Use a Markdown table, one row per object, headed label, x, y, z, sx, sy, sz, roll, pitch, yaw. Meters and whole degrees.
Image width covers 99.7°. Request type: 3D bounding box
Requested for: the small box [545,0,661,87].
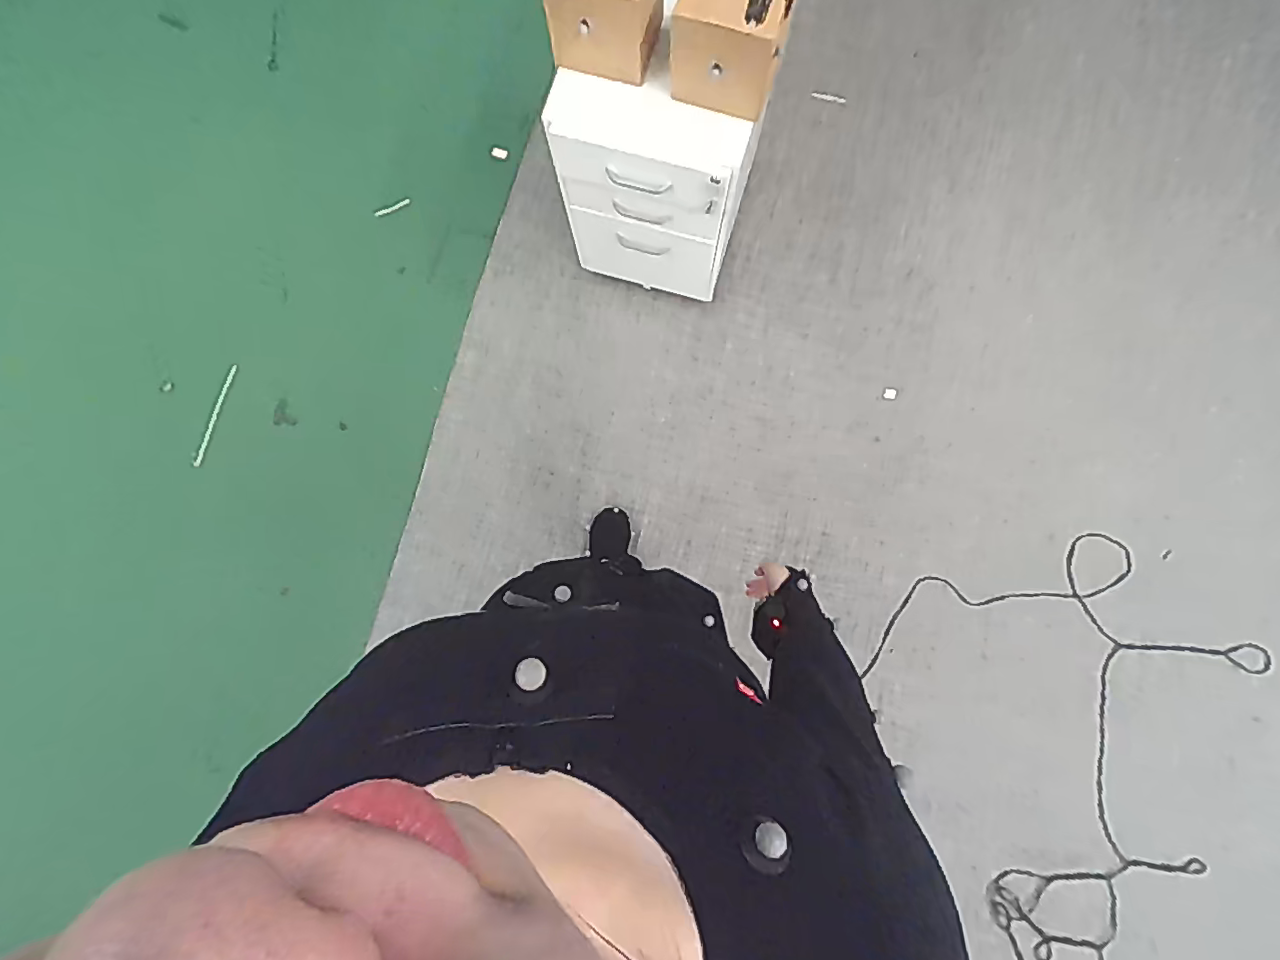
| label | x | y | z | sx | sy | sz | roll | pitch | yaw |
| --- | --- | --- | --- | --- | --- | --- | --- | --- | --- |
| small box | -0.065 | -0.861 | 0.978 | 0.179 | 0.176 | 0.168 | 16 | 83 | 3 |
